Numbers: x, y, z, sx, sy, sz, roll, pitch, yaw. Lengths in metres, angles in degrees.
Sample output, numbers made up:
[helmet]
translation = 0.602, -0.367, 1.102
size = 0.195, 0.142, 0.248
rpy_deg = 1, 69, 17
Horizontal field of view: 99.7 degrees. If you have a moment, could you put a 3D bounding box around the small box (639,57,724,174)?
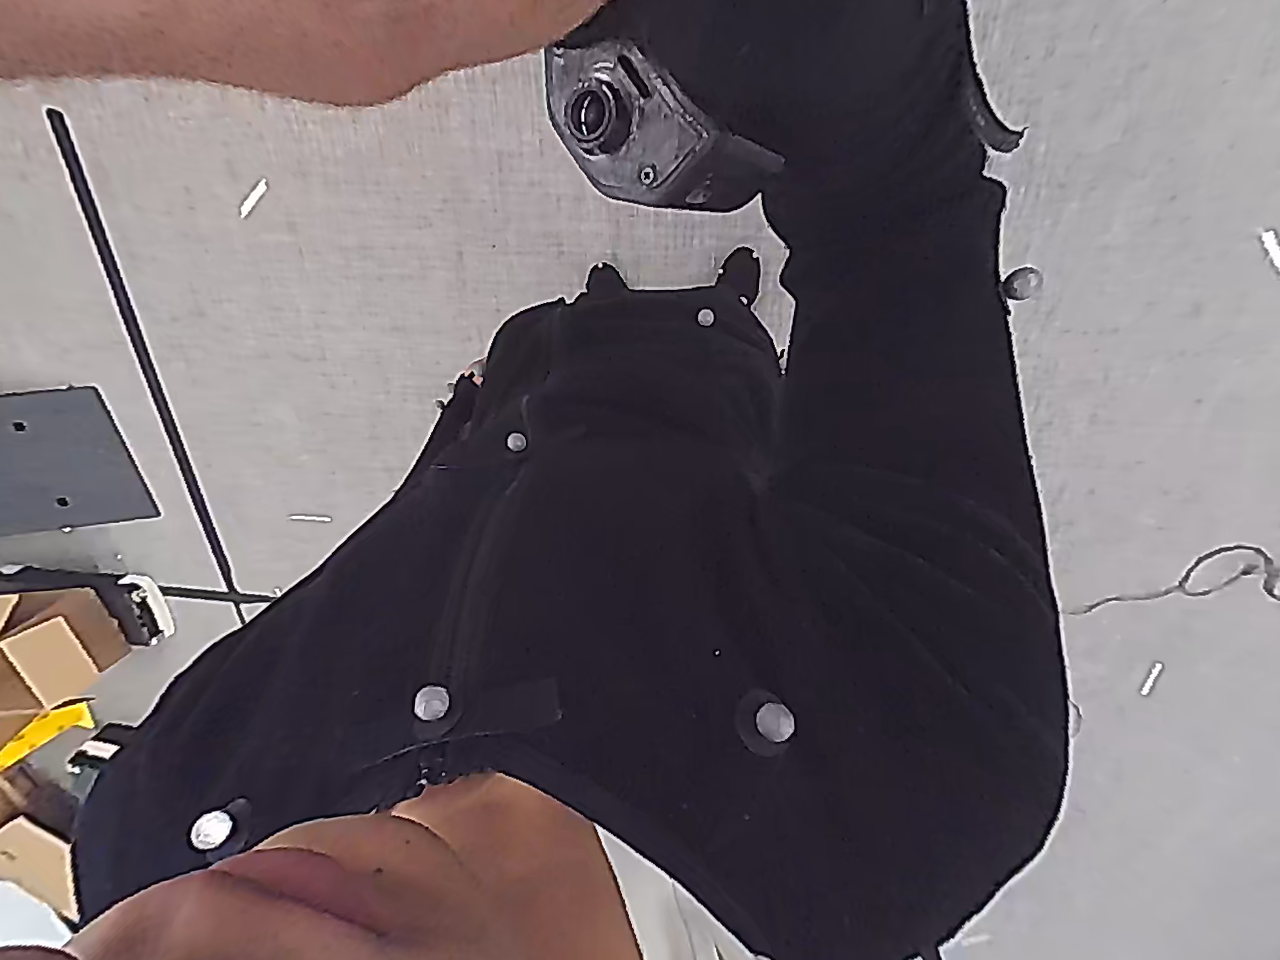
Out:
[small box]
translation = 0.099, -0.819, 1.234
size = 0.168, 0.176, 0.179
rpy_deg = -7, 113, 11
